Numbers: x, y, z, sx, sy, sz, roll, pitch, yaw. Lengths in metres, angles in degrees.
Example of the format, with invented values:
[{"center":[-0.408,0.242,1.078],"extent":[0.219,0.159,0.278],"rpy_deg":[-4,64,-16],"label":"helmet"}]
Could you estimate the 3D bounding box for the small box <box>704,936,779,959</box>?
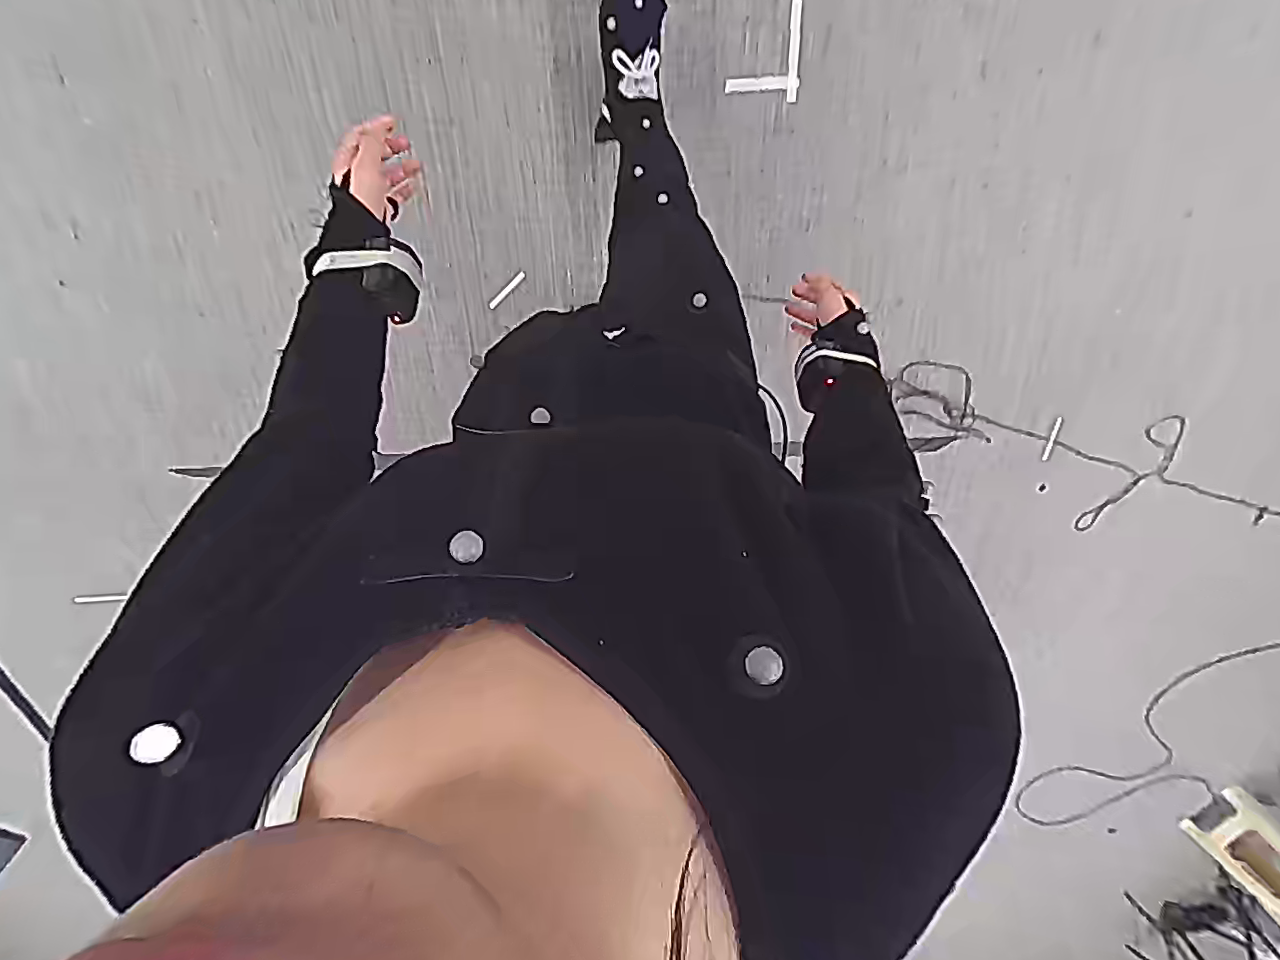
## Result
[{"center":[0.262,1.273,1.344],"extent":[0.179,0.176,0.168],"rpy_deg":[0,116,-4],"label":"small box"}]
